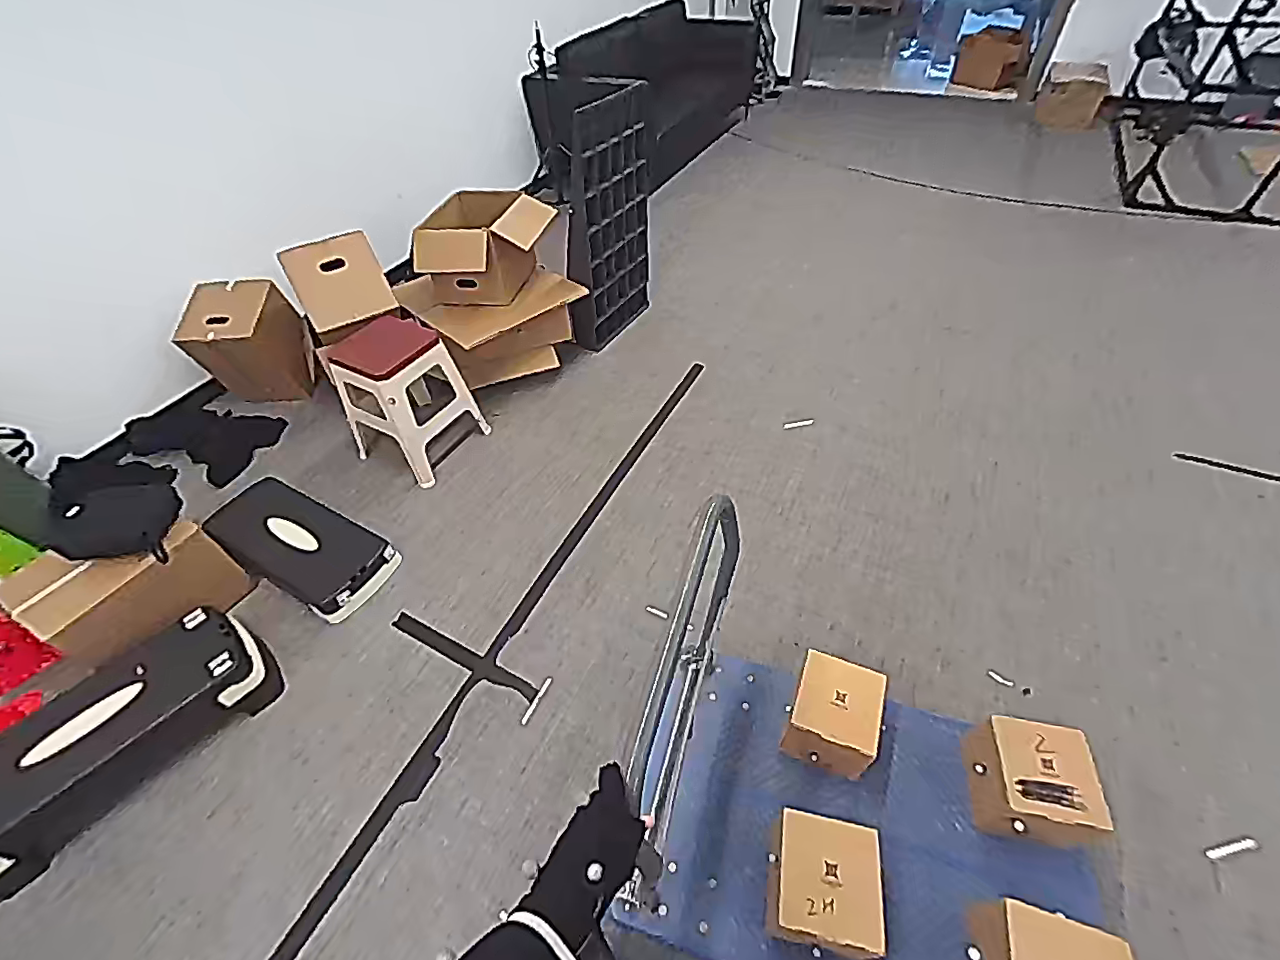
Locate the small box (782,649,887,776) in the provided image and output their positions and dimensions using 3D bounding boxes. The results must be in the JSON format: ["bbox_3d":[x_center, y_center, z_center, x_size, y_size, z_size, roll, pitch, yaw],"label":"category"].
[{"bbox_3d":[0.415,0.504,1.170,0.168,0.176,0.179,16,51,16],"label":"small box"}]

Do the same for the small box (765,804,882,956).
[{"bbox_3d":[0.323,0.720,0.974,0.168,0.176,0.179,9,48,11],"label":"small box"}]

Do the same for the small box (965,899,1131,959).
[{"bbox_3d":[0.653,0.813,0.871,0.179,0.176,0.168,13,49,16],"label":"small box"}]
